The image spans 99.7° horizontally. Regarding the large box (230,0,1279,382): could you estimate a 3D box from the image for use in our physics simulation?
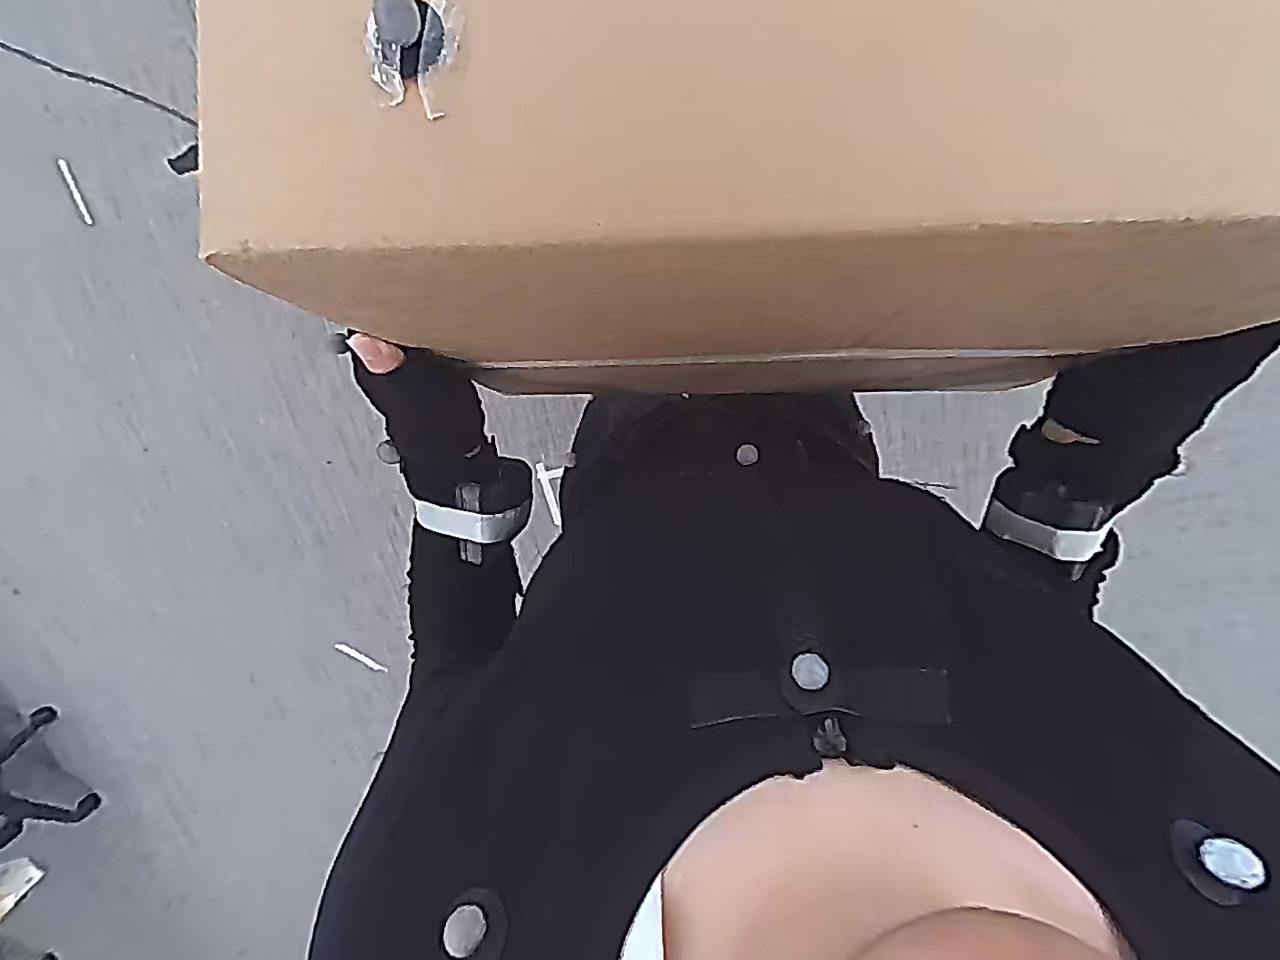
[{"bbox_3d":[0.075,-0.236,0.306,0.408,0.320,0.320,0,91,3],"label":"large box"}]
